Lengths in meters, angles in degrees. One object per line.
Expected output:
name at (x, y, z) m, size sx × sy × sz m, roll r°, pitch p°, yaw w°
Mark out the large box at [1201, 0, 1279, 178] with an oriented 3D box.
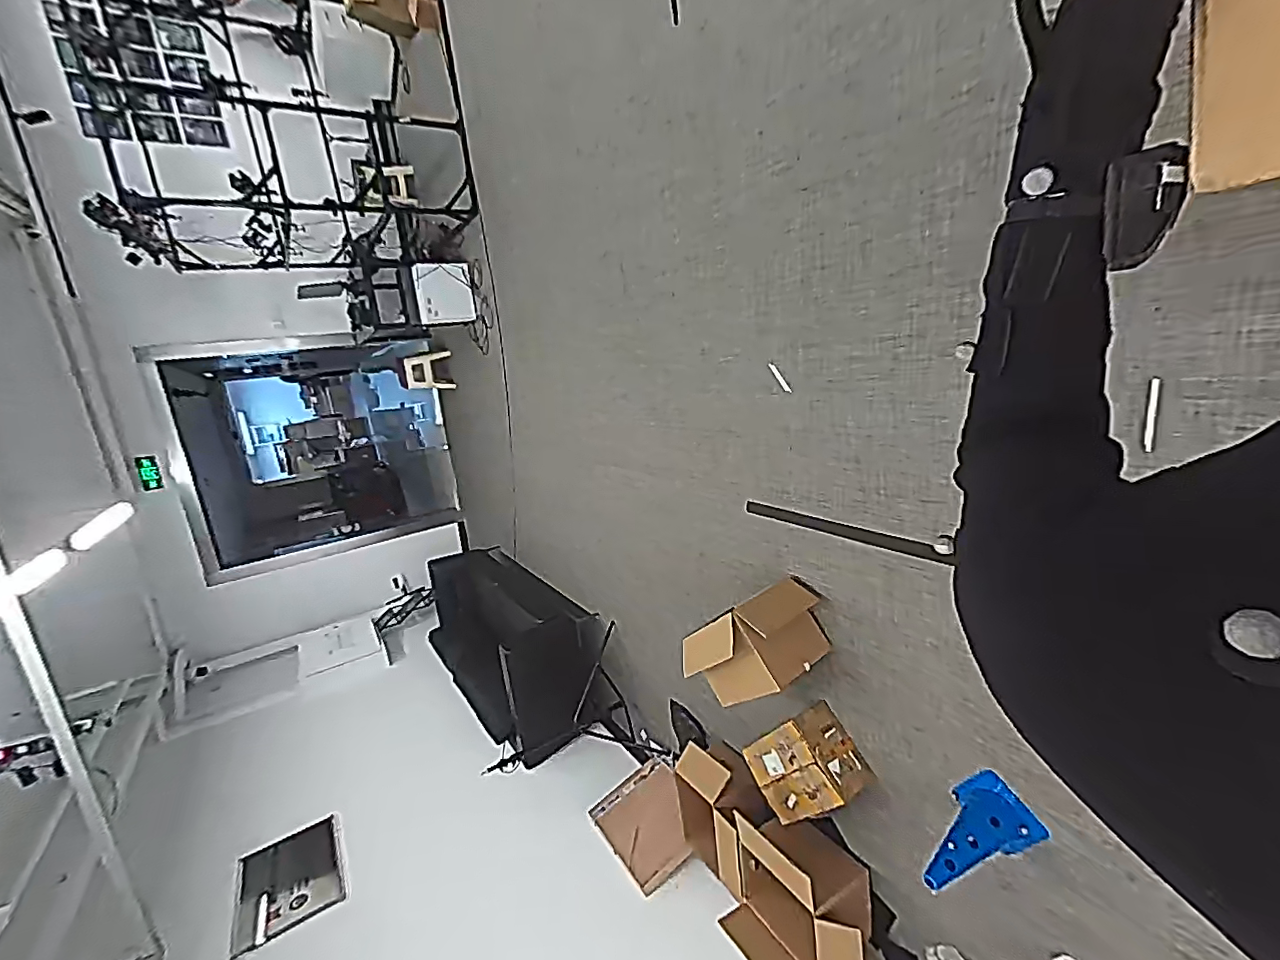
large box at (0.518, -0.348, 0.193) m, size 0.408 × 0.320 × 0.320 m, roll 7°, pitch 113°, yaw 55°
